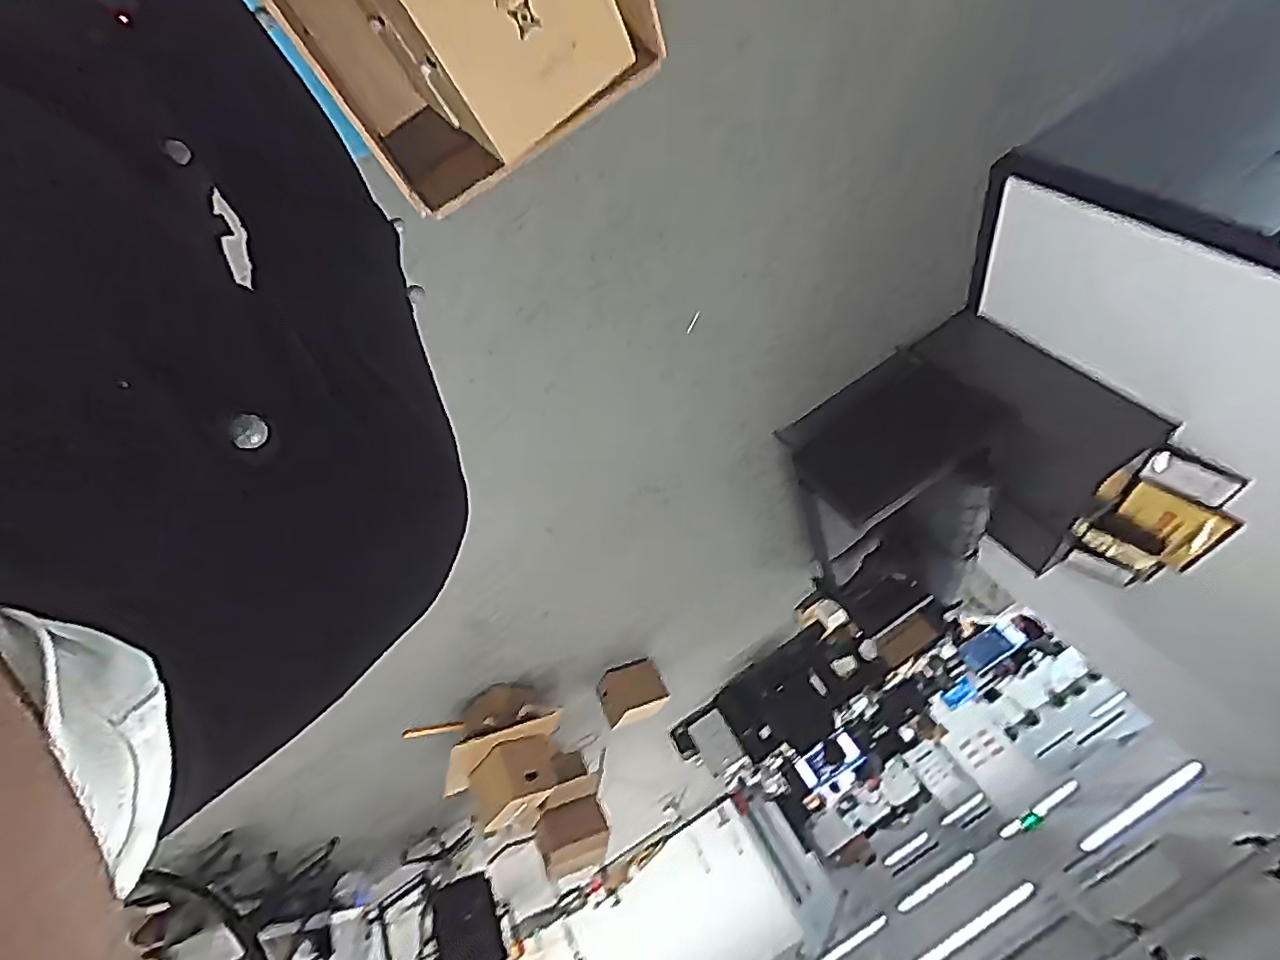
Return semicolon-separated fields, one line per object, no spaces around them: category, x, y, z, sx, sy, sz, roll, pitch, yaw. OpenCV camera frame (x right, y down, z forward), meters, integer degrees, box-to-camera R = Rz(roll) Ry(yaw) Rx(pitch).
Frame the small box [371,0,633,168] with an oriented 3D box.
small box;-0.141;-0.444;0.513;0.168;0.176;0.179;-38;142;2

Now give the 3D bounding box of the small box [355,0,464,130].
small box;-0.219;-0.546;0.614;0.168;0.176;0.179;-38;142;1
